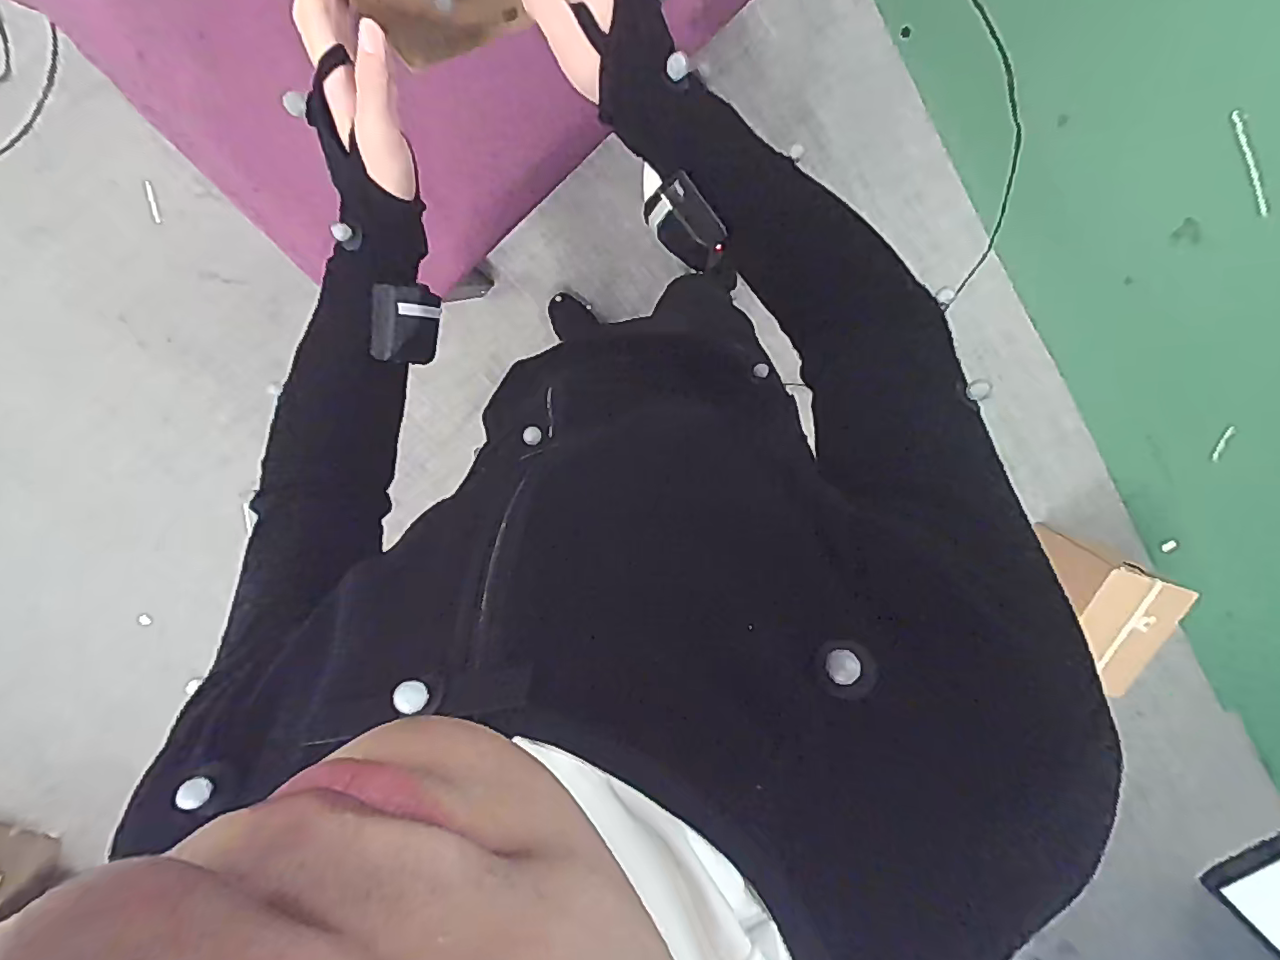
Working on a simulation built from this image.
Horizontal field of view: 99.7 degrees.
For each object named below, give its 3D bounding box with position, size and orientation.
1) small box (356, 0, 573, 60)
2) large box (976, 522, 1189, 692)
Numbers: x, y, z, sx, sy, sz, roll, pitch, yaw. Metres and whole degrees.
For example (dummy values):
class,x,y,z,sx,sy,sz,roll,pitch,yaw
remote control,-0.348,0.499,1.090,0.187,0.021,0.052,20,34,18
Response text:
class,x,y,z,sx,sy,sz,roll,pitch,yaw
small box,-0.157,-0.456,0.399,0.168,0.176,0.179,-19,104,4
large box,1.411,0.406,1.768,0.320,0.320,0.408,16,108,-10
